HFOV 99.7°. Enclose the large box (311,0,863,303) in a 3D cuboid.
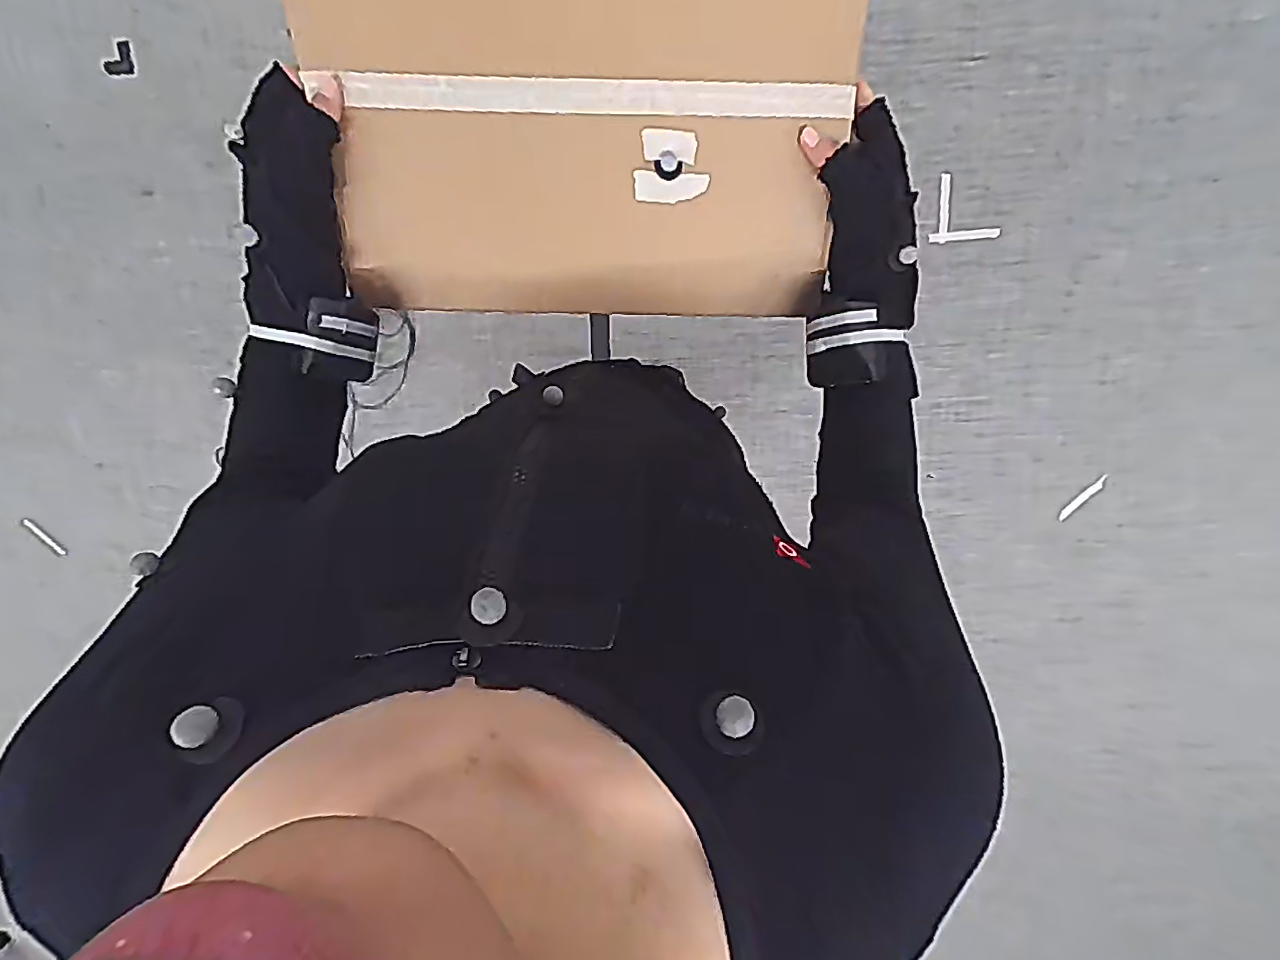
[{"bbox_3d":[-0.042,-0.362,0.545,0.408,0.320,0.320,0,117,-2],"label":"large box"}]
